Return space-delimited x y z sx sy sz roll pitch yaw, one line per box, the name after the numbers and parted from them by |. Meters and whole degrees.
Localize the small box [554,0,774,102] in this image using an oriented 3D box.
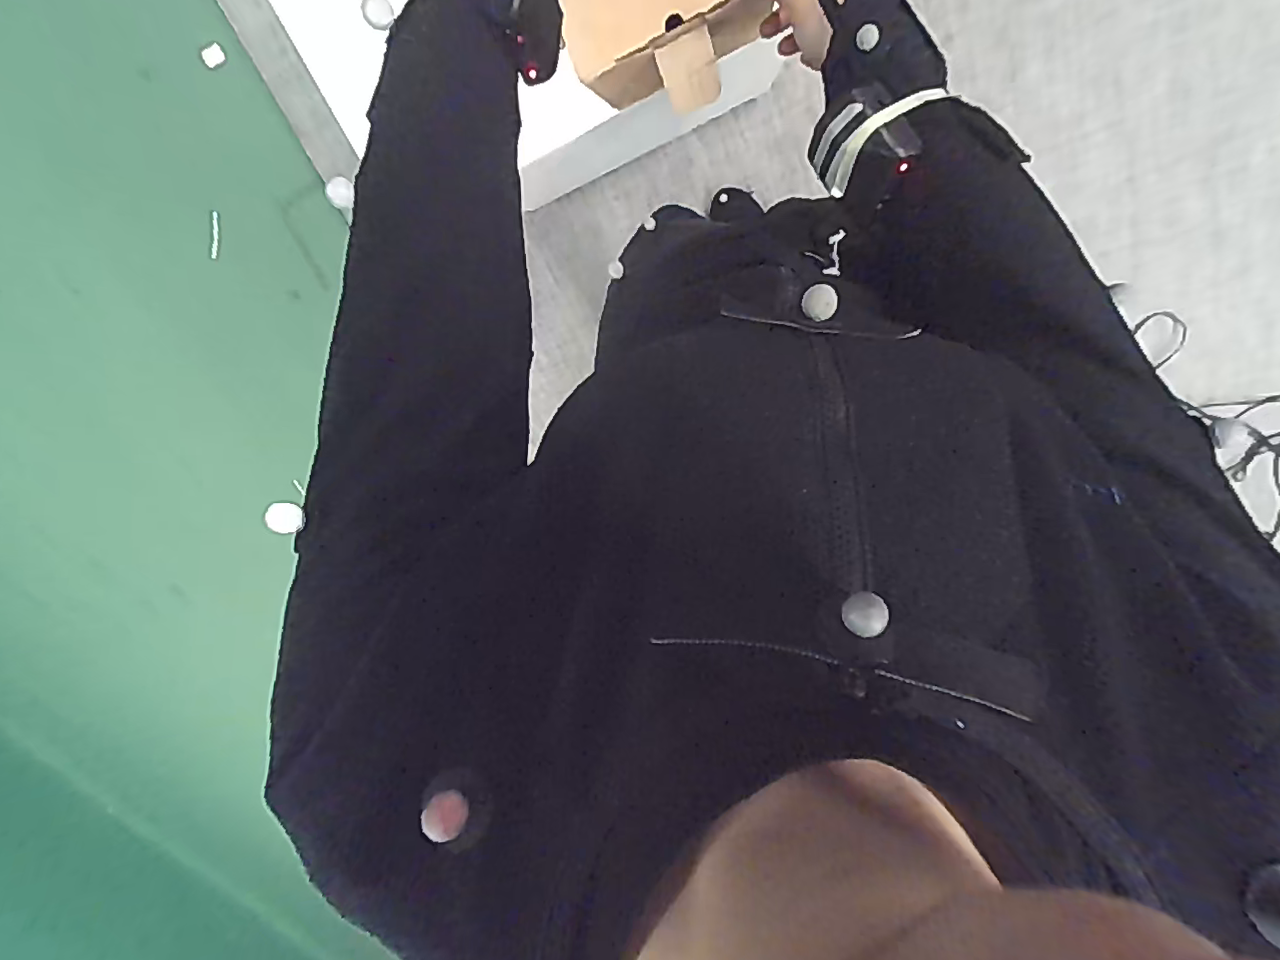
0.007 -0.449 0.441 0.168 0.176 0.179 -17 115 17 | small box
